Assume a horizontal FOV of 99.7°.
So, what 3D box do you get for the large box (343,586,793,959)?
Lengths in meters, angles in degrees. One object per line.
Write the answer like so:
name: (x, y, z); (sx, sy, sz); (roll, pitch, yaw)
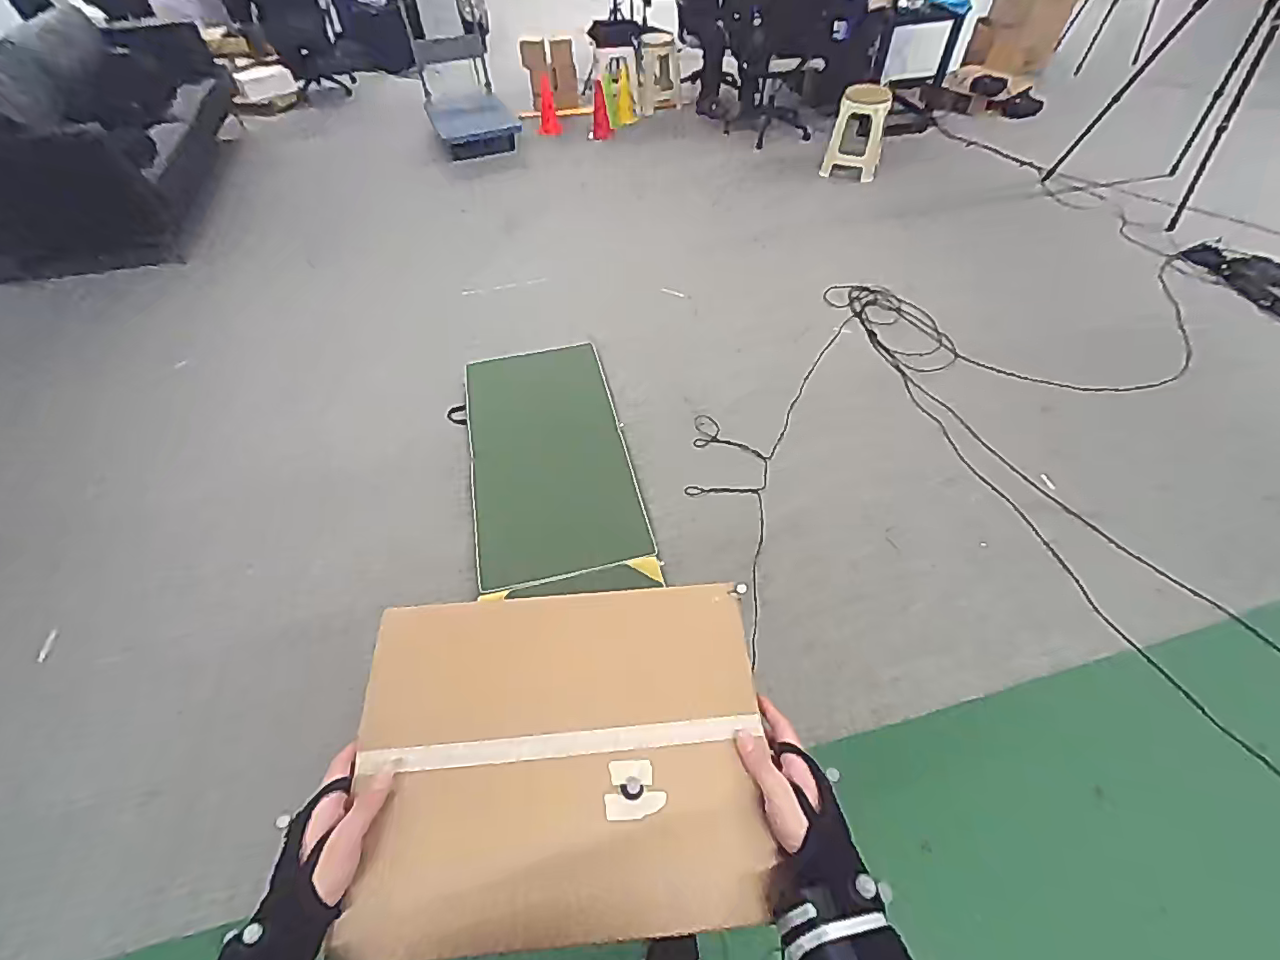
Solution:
large box: (-0.076, 0.351, 0.676); (0.408, 0.320, 0.320); (-3, 57, -4)
